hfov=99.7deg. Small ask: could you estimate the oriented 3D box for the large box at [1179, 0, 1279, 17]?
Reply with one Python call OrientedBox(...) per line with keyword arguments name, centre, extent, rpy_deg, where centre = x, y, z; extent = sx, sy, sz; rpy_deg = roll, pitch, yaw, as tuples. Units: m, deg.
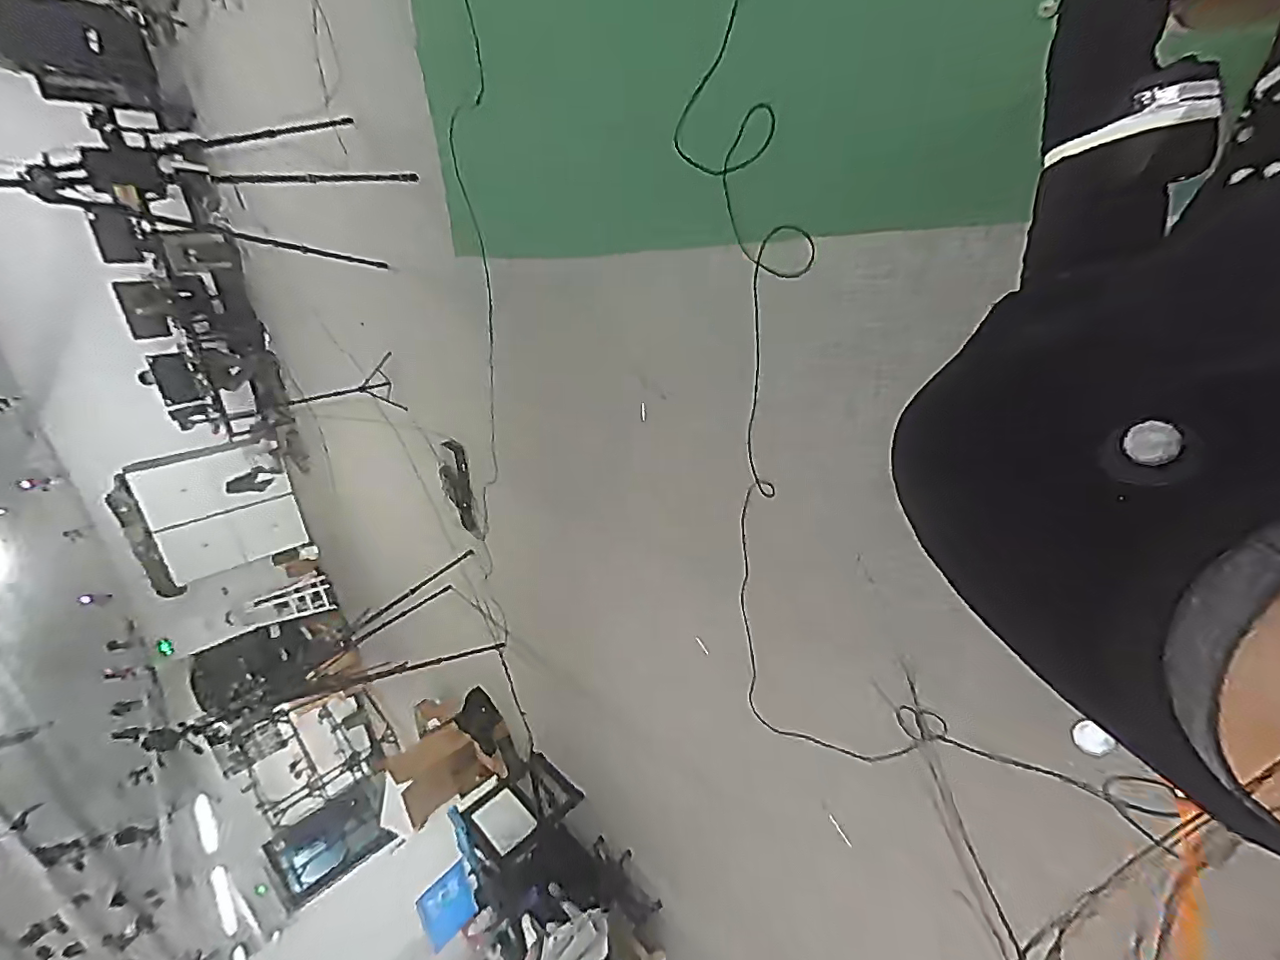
OrientedBox(name="large box", centre=(0.554, -0.475, 0.236), extent=(0.408, 0.320, 0.320), rpy_deg=(16, 126, 43))
